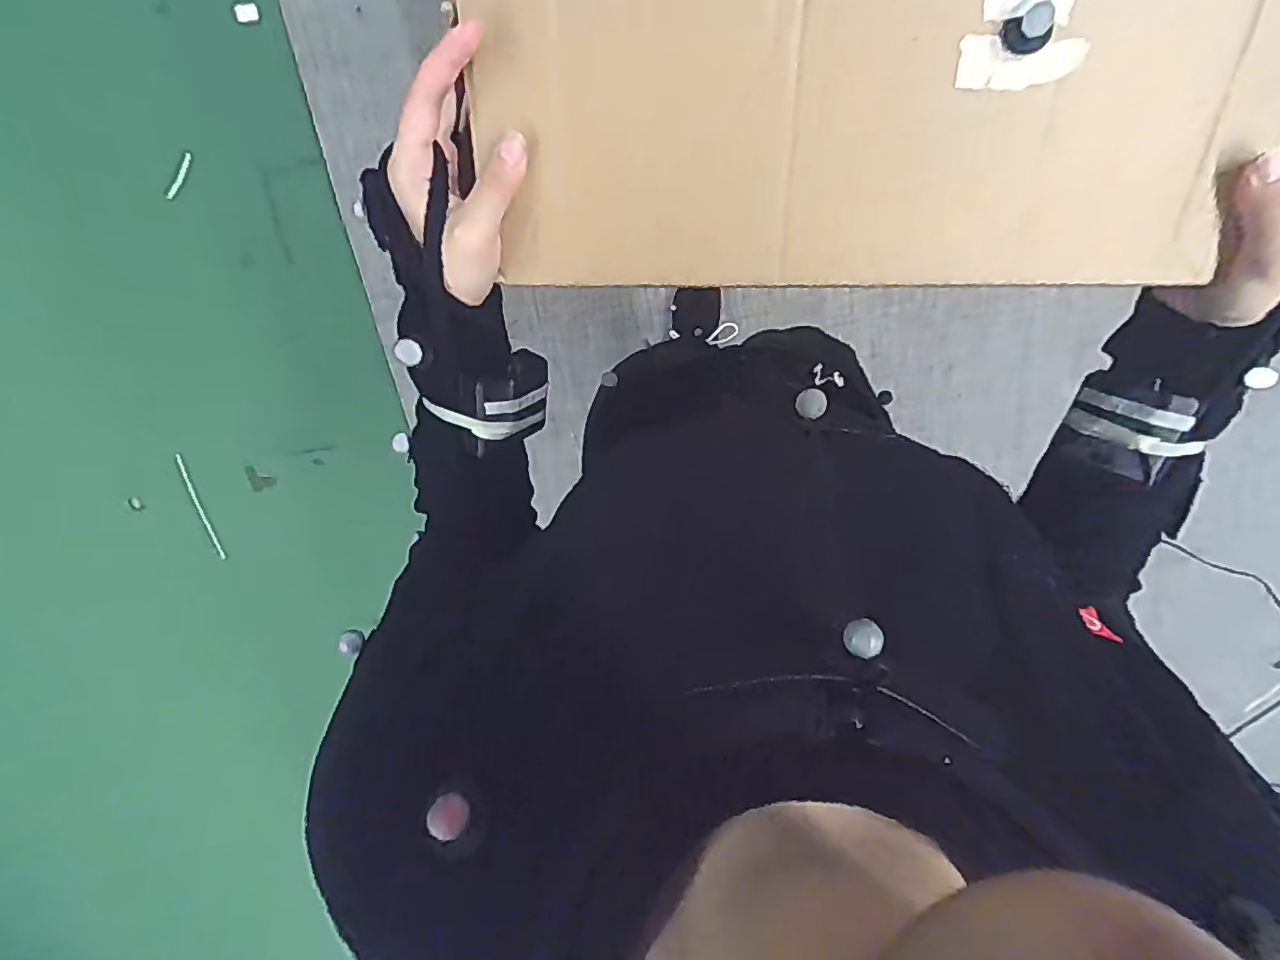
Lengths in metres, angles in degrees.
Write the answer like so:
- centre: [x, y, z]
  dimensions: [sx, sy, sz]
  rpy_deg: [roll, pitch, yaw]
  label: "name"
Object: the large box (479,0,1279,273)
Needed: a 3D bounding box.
- centre: [0.119, -0.323, 0.391]
  dimensions: [0.408, 0.320, 0.320]
  rpy_deg: [0, 112, 2]
  label: "large box"
